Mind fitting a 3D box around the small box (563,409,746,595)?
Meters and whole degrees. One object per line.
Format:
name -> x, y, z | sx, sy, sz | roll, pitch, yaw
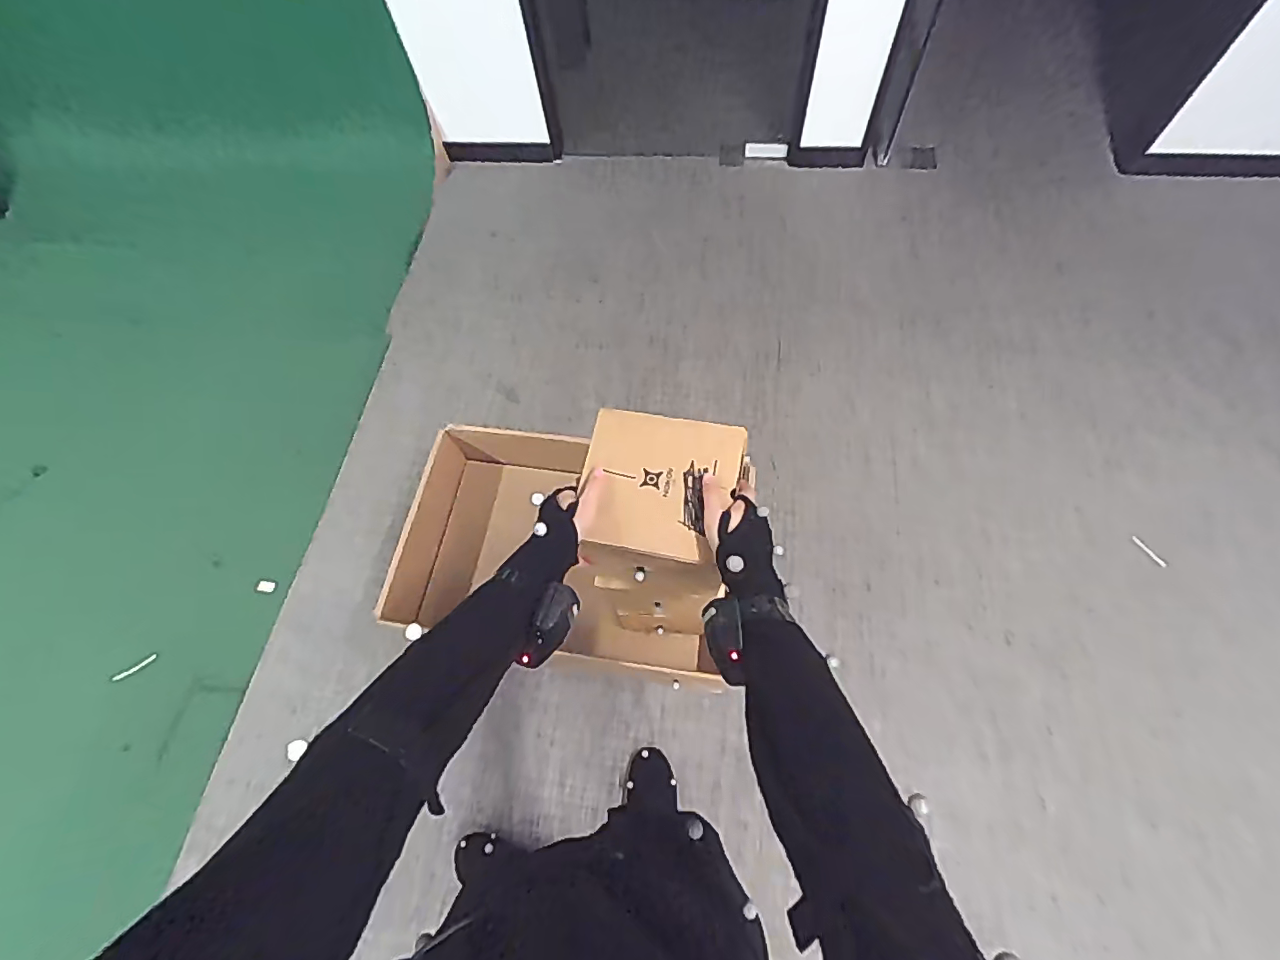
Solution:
small box -> 0.025, 0.035, 0.666 | 0.179, 0.176, 0.168 | 9, 67, 9
